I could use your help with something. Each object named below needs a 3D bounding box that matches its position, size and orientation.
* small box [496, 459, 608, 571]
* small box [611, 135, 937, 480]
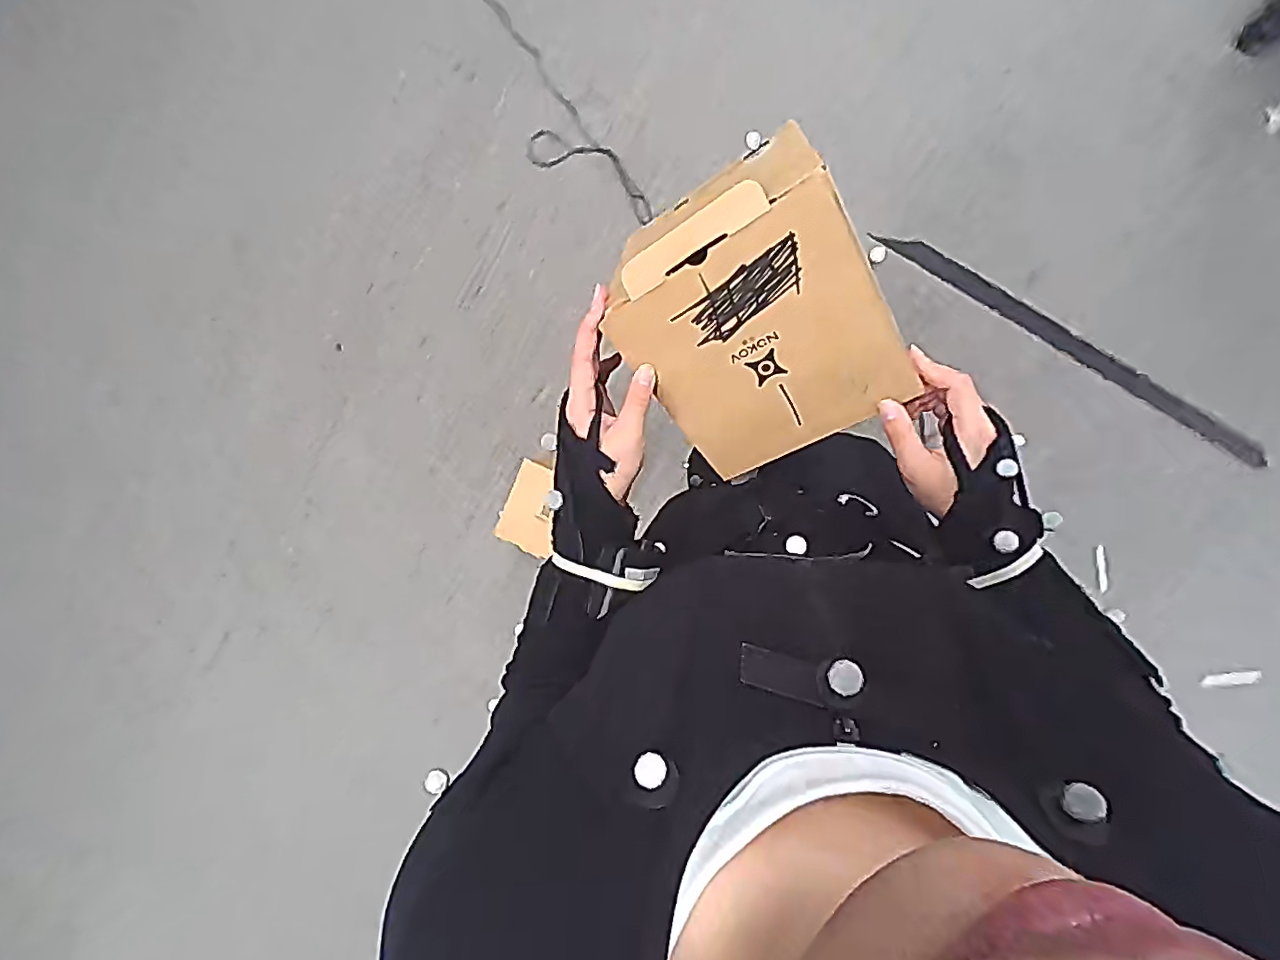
[{"bbox_3d":[-0.177,0.063,1.150,0.168,0.176,0.179,24,98,4],"label":"small box"},{"bbox_3d":[0.101,-0.137,0.426,0.168,0.176,0.179,-24,124,27],"label":"small box"}]
